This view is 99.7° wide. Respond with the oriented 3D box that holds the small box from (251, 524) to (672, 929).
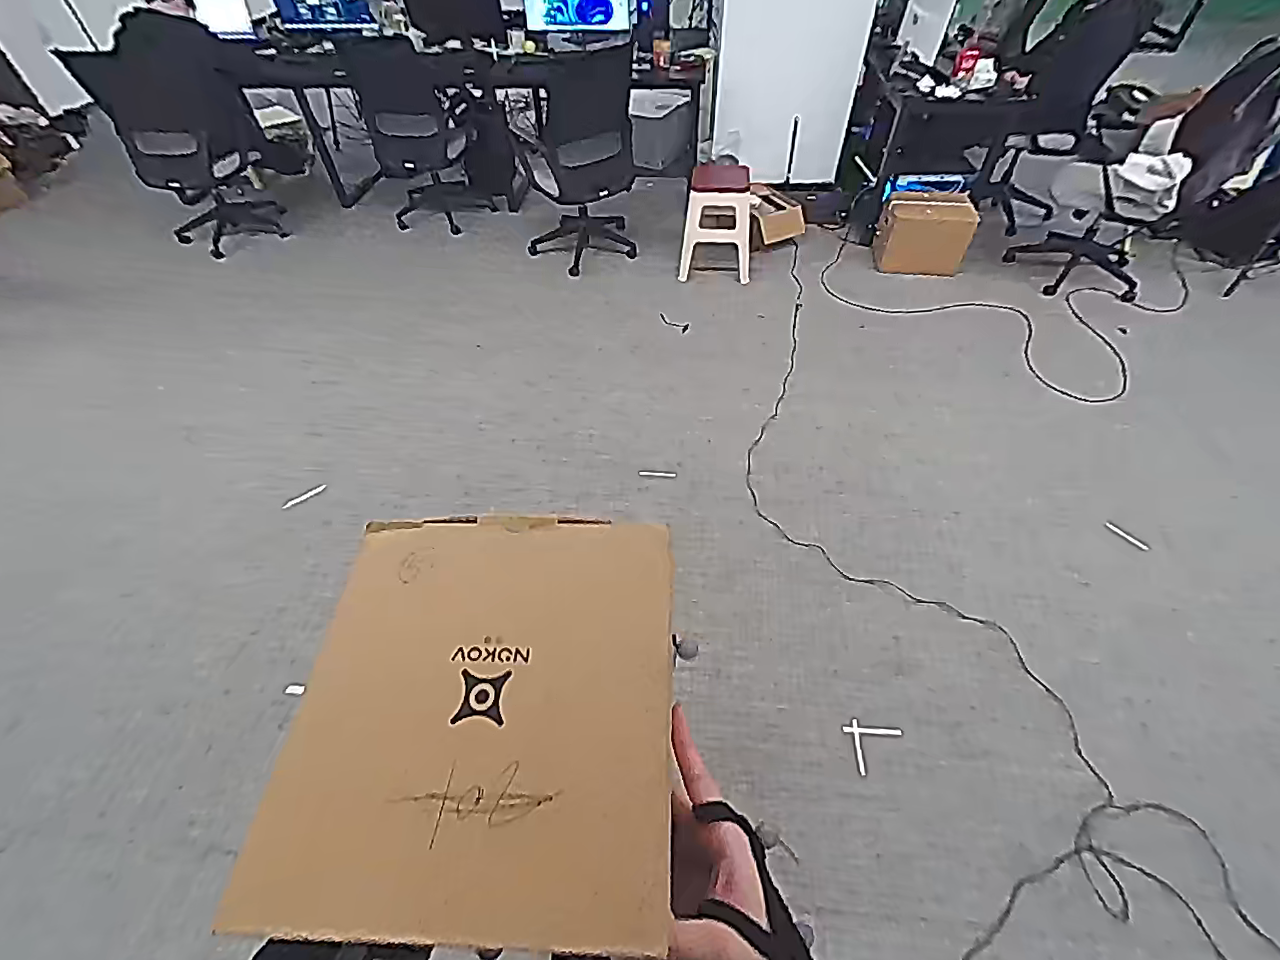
[{"bbox_3d":[-0.066,0.142,0.319,0.168,0.176,0.179,-1,55,4],"label":"small box"}]
